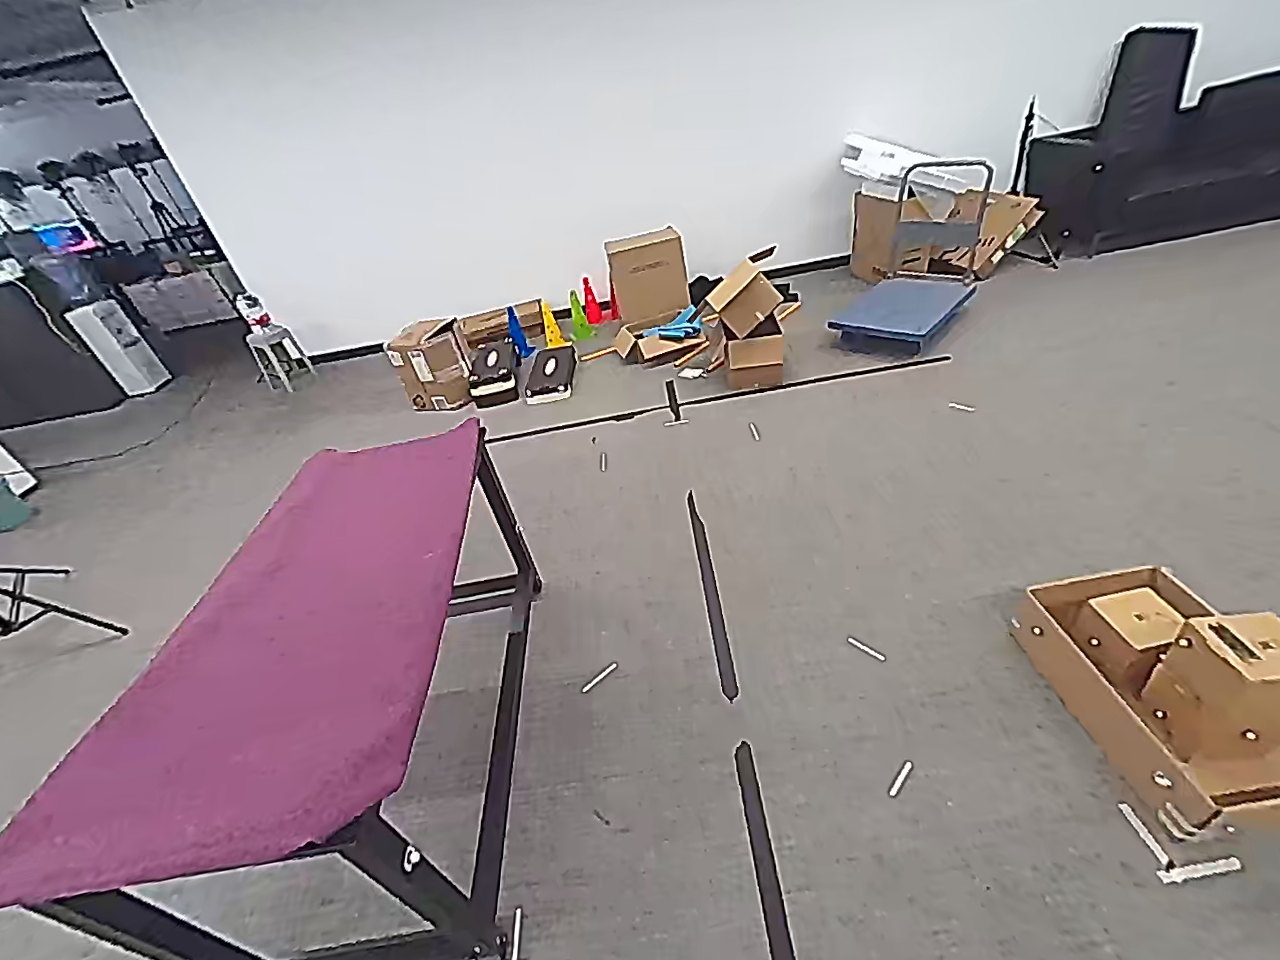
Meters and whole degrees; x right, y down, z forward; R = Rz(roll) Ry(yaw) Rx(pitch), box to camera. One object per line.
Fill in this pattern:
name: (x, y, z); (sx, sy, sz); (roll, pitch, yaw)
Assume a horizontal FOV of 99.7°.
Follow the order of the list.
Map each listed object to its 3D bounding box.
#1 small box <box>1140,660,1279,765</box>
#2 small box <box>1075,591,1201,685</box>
small box: (1.366, 0.556, 1.292); (0.179, 0.176, 0.168); (-8, 34, 6)
small box: (1.329, 0.430, 1.464); (0.179, 0.176, 0.168); (-11, 37, 1)
